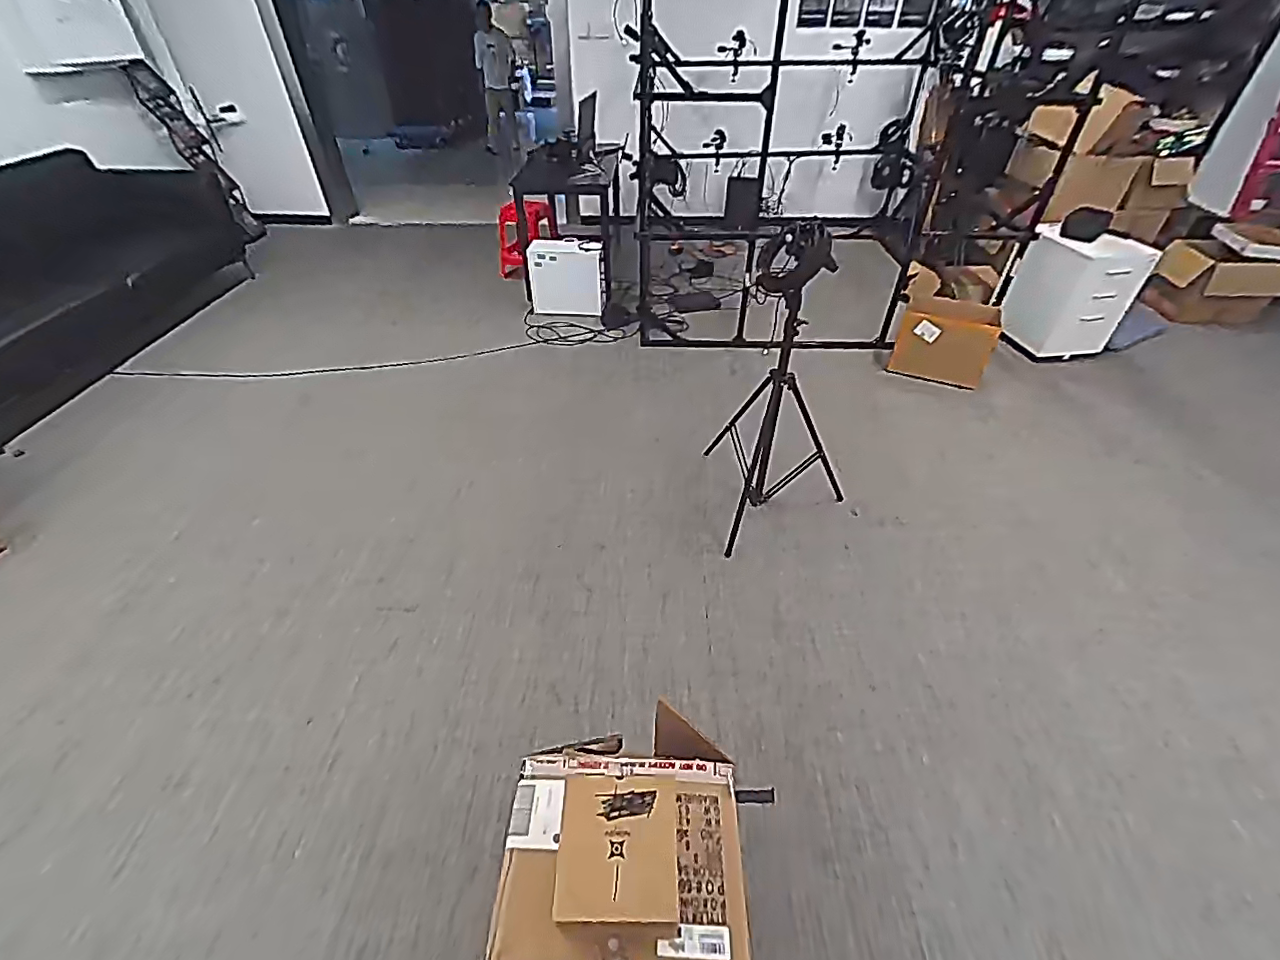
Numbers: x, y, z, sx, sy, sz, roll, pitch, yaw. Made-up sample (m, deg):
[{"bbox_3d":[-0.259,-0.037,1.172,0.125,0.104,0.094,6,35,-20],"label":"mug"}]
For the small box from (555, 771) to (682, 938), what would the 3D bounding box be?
[{"bbox_3d":[-0.027,0.556,0.805,0.168,0.176,0.179,0,44,1],"label":"small box"}]
